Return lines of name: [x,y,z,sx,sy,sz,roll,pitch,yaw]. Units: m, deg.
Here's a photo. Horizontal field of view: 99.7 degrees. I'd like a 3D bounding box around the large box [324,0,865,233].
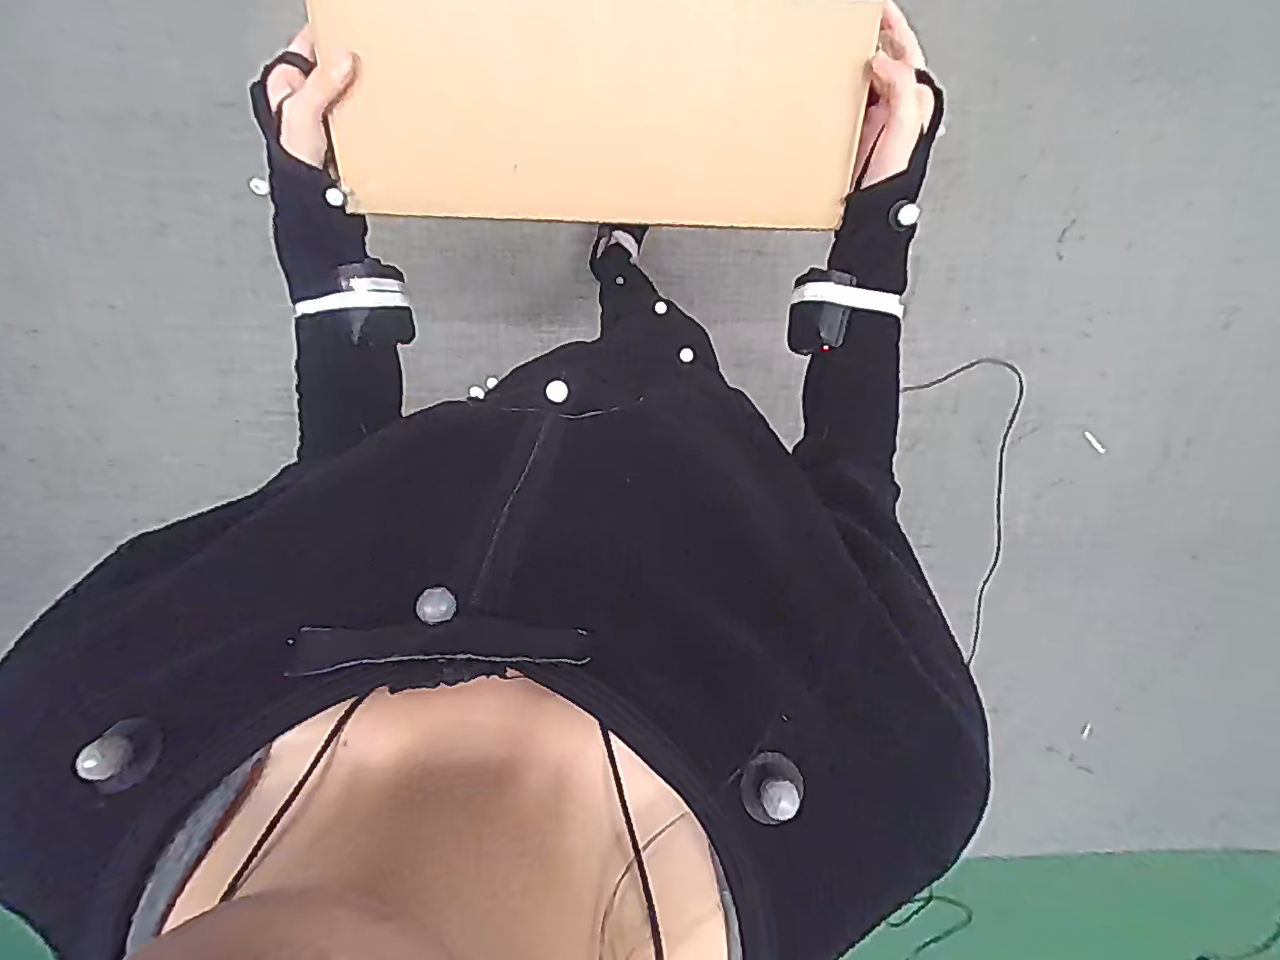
large box: [-0.034,-0.420,0.526,0.408,0.320,0.320,0,115,-3]
